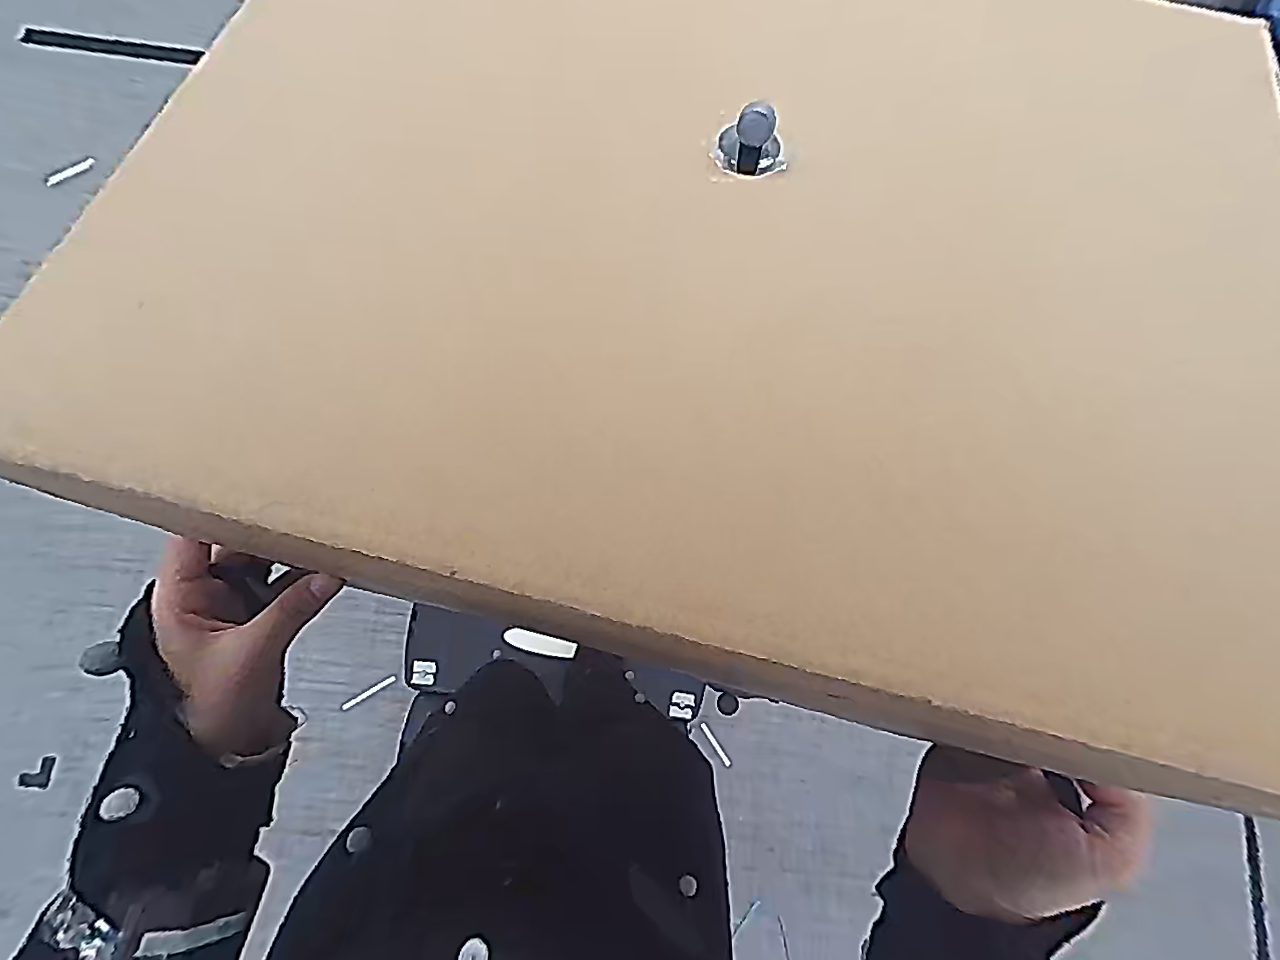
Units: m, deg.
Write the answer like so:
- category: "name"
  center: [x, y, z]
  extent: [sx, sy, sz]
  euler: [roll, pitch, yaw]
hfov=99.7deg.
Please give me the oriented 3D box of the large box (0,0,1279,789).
- category: "large box"
  center: [0.017, -0.059, 0.327]
  extent: [0.408, 0.320, 0.320]
  euler: [13, 72, 3]

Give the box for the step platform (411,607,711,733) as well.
- category: "step platform"
  center: [-0.168, 0.371, 1.272]
  extent: [0.684, 0.204, 0.286]
  euler: [13, 80, -2]
